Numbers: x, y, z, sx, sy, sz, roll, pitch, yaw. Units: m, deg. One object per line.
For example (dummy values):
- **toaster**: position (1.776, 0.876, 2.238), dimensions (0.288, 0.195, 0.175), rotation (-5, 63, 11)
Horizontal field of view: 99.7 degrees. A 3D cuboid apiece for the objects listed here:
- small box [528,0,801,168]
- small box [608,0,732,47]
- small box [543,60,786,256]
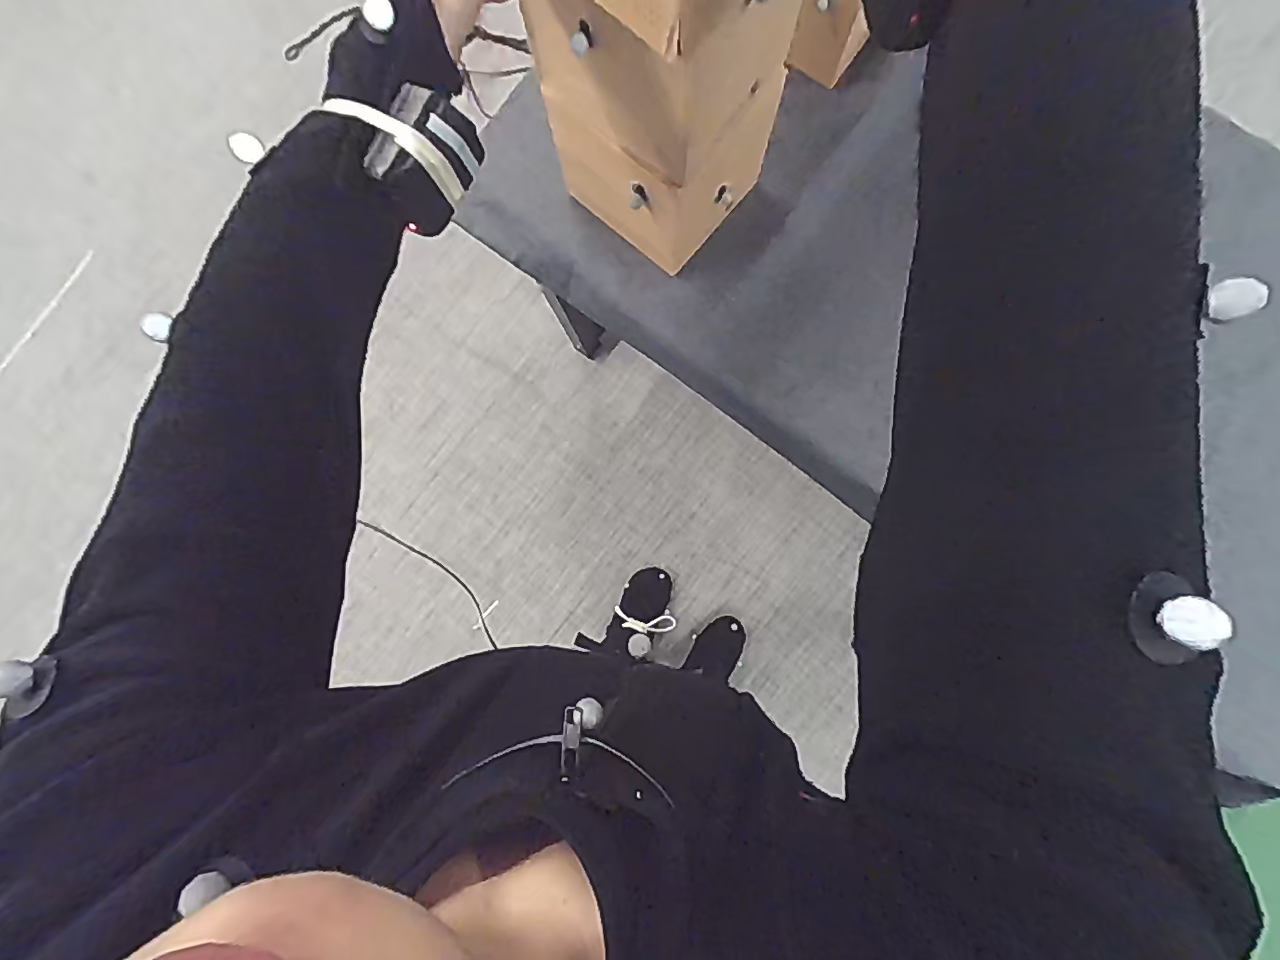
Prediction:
- **small box**: position (0.020, -0.397, 0.430), dimensions (0.179, 0.176, 0.168), rotation (37, 87, 4)
- **small box**: position (0.018, -0.379, 0.258), dimensions (0.168, 0.176, 0.179), rotation (42, 92, 6)
- **small box**: position (0.026, -0.379, 0.593), dimensions (0.179, 0.176, 0.168), rotation (40, 87, 4)
